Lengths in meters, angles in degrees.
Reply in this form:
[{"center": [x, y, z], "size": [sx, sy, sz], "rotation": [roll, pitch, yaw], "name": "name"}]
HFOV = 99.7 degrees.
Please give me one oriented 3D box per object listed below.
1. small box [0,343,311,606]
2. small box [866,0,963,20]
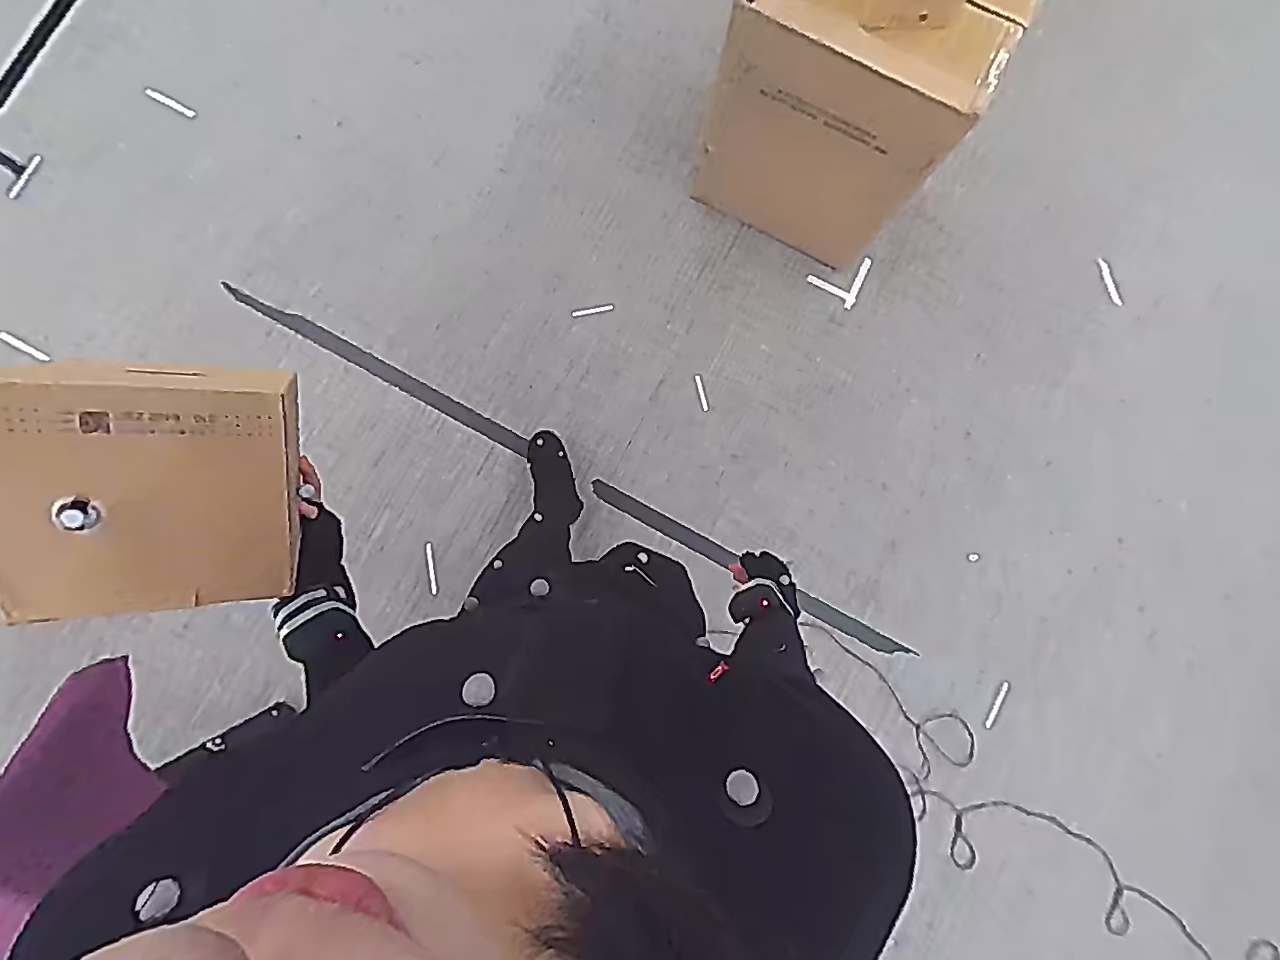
[{"center": [-0.375, -0.018, 0.447], "size": [0.168, 0.179, 0.176], "rotation": [1, 106, -28], "name": "small box"}, {"center": [0.499, -0.938, 0.927], "size": [0.168, 0.176, 0.179], "rotation": [-3, 87, -2], "name": "small box"}]
